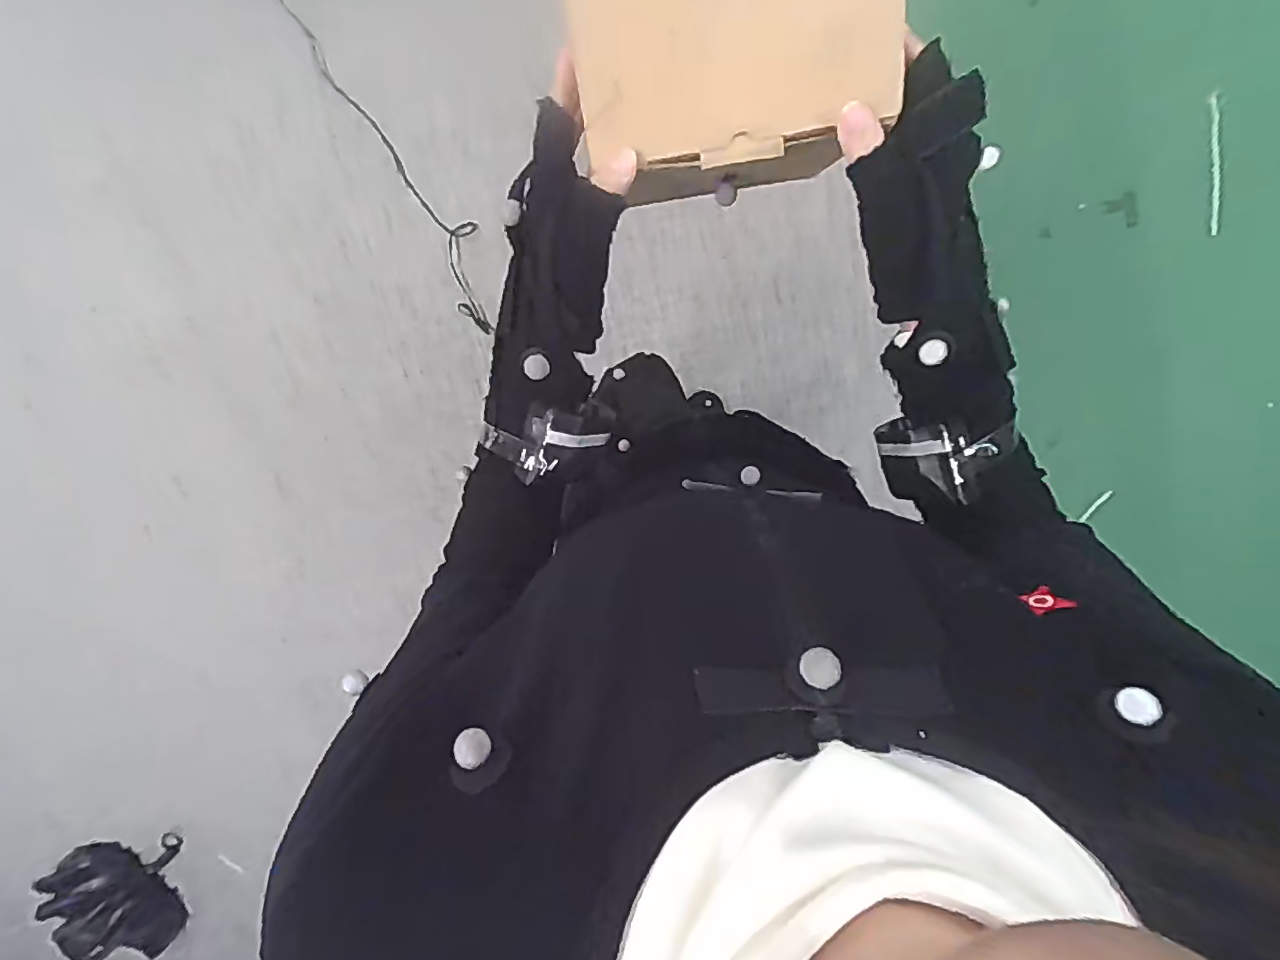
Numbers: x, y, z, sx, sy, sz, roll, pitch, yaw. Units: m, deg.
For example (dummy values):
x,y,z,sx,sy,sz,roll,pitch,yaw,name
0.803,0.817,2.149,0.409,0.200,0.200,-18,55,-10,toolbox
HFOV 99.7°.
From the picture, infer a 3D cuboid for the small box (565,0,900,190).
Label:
x,y,z,sx,sy,sz,roll,pitch,yaw,name
0.046,-0.289,0.332,0.168,0.176,0.179,-7,112,6,small box
